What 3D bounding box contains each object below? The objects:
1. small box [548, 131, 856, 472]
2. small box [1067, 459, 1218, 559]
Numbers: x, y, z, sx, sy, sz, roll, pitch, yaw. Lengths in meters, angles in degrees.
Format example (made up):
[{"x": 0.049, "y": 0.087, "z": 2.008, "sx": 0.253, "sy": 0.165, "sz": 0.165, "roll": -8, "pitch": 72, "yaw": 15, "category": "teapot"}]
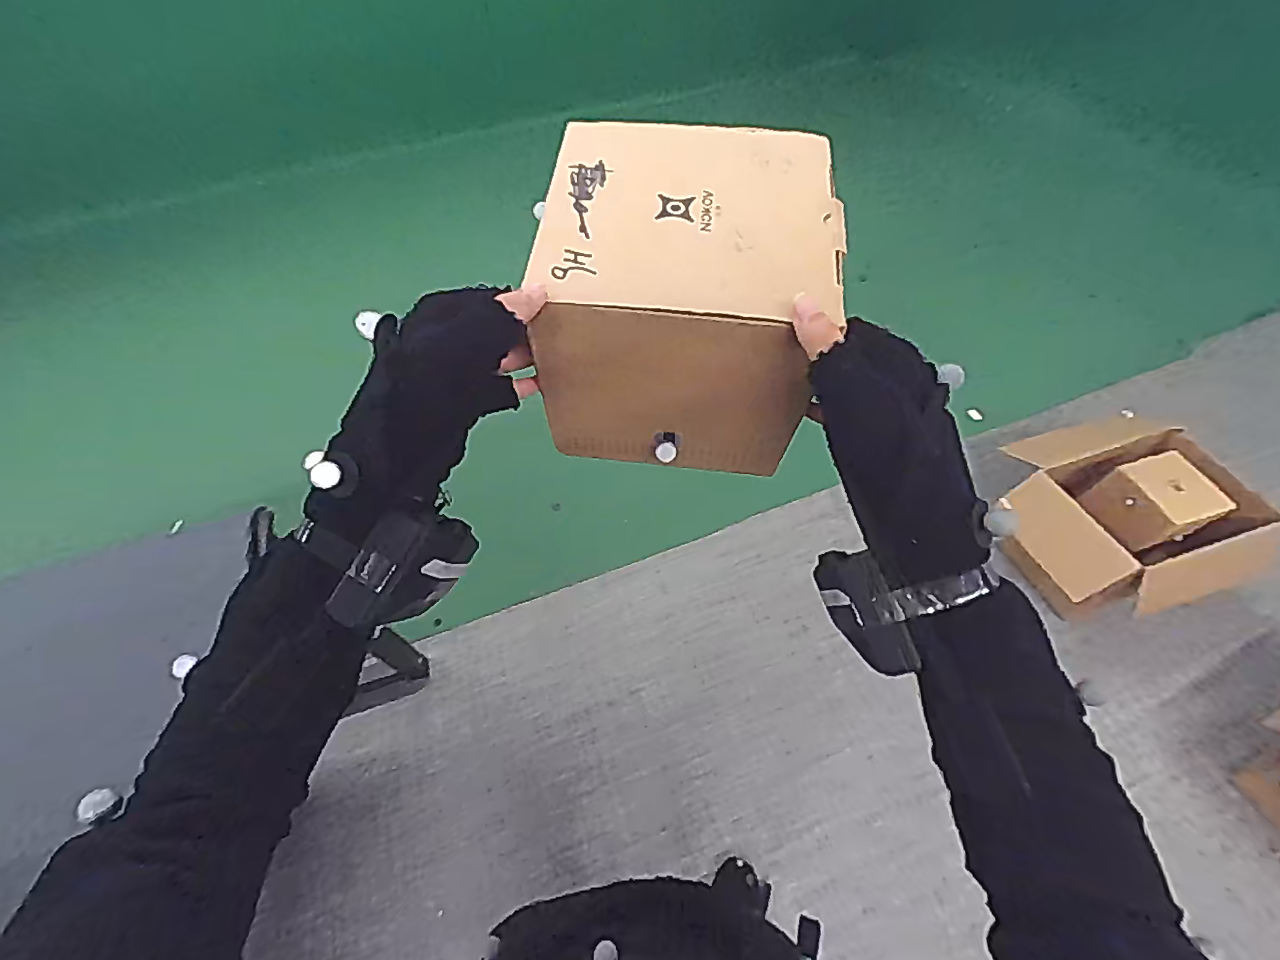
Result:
[{"x": 0.040, "y": -0.121, "z": 0.407, "sx": 0.179, "sy": 0.176, "sz": 0.168, "roll": 7, "pitch": 62, "yaw": 1, "category": "small box"}, {"x": 1.239, "y": 0.080, "z": 1.349, "sx": 0.168, "sy": 0.176, "sz": 0.179, "roll": -15, "pitch": 55, "yaw": -8, "category": "small box"}]
